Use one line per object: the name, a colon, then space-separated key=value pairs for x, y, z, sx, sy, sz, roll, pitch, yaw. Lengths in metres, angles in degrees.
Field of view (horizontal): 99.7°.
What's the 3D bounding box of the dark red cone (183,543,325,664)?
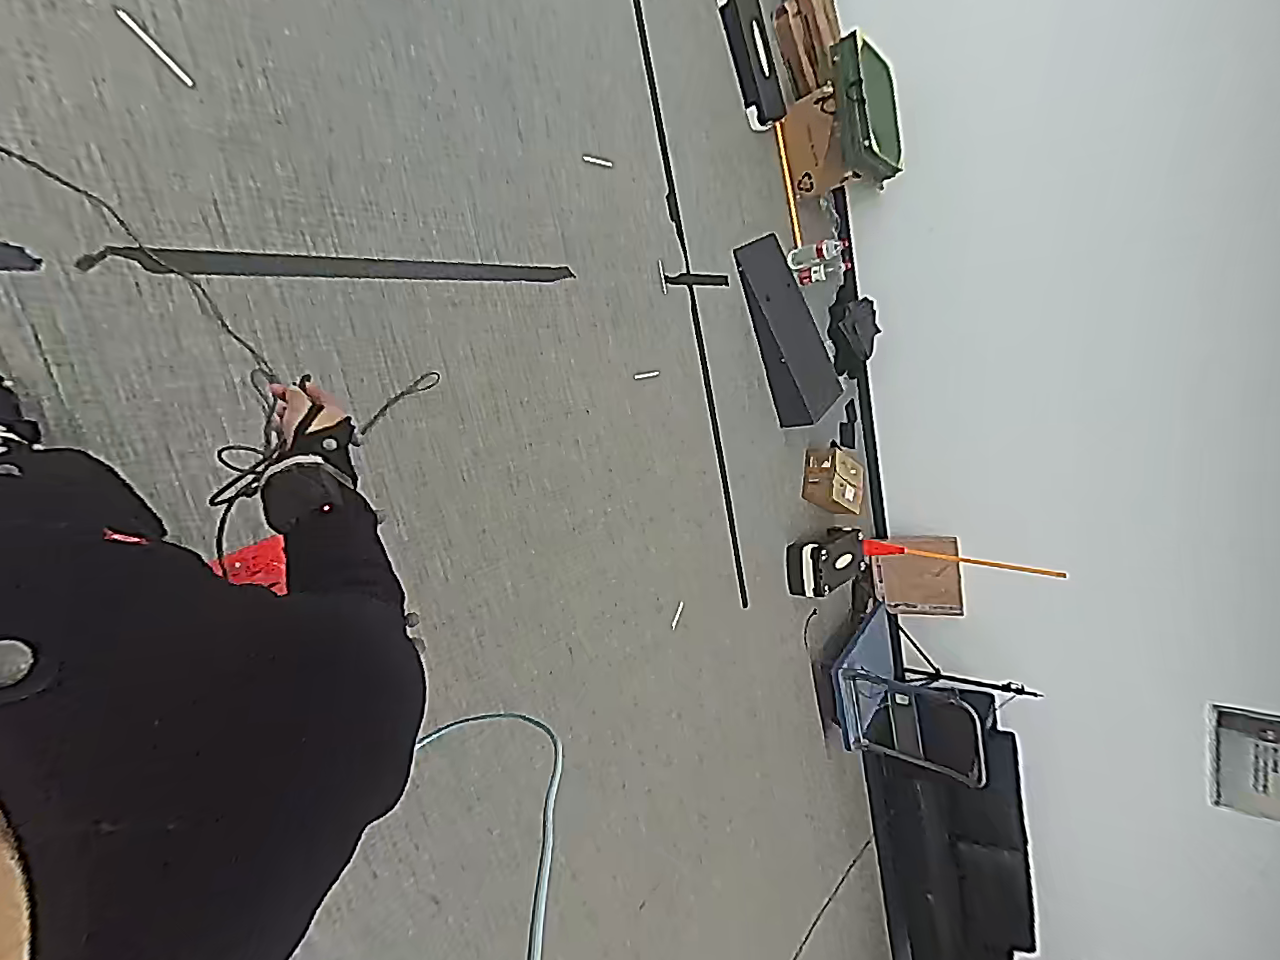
dark red cone: x=-0.686 y=0.249 z=1.030 sx=0.202 sy=0.394 sz=0.201 roll=-32 pitch=111 yaw=-44
